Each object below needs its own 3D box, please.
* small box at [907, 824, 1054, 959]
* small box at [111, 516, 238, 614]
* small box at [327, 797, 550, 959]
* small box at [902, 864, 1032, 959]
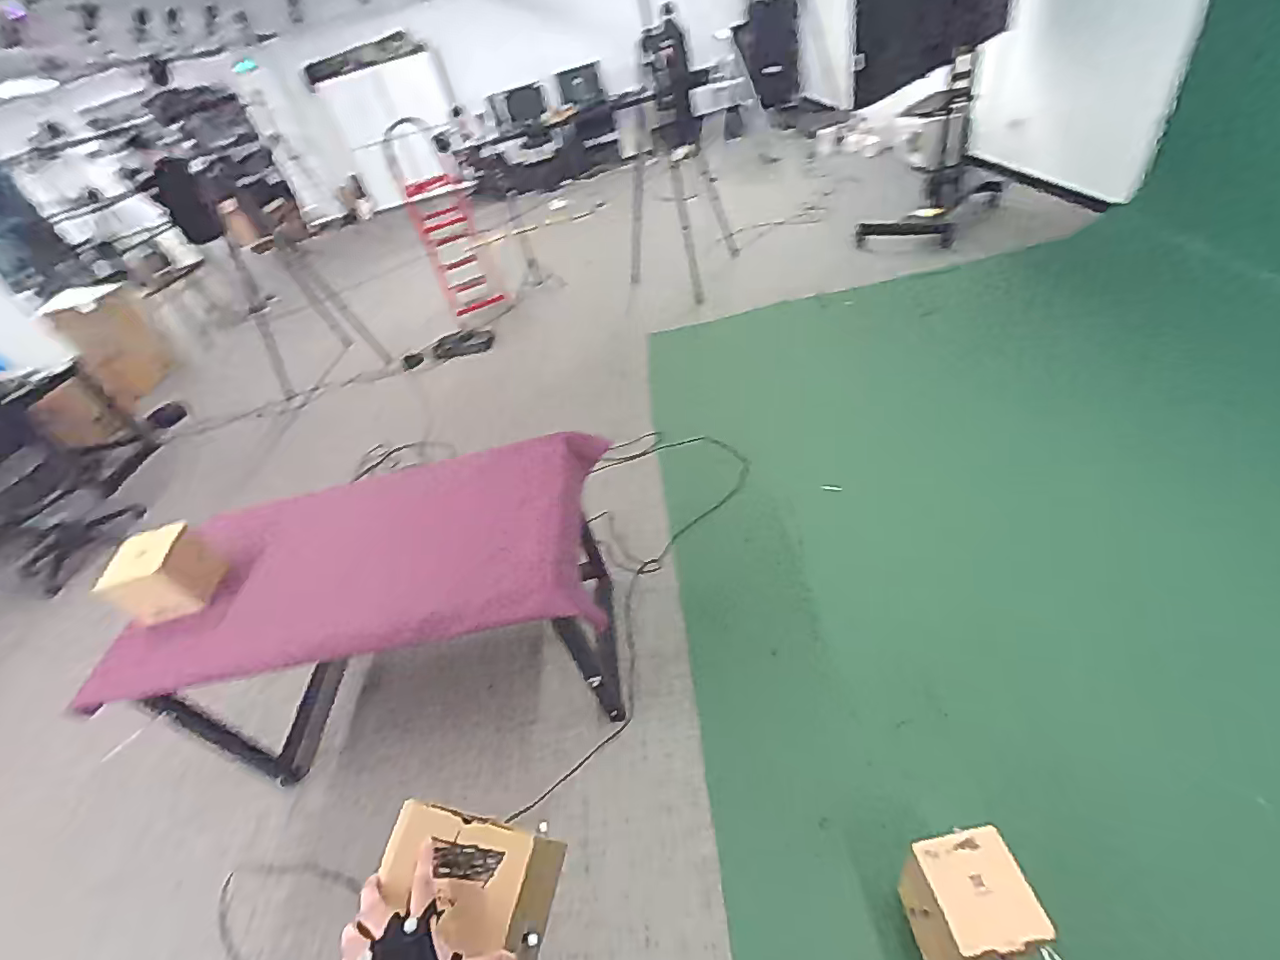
[{"bbox_3d":[0.636,0.796,1.037,0.168,0.176,0.179,-14,41,3],"label":"small box"},{"bbox_3d":[-1.247,0.232,1.470,0.168,0.176,0.179,-16,41,2],"label":"small box"},{"bbox_3d":[-0.219,0.499,0.637,0.168,0.176,0.179,7,57,13],"label":"small box"},{"bbox_3d":[0.672,0.918,1.139,0.179,0.176,0.168,-12,40,5],"label":"small box"}]
